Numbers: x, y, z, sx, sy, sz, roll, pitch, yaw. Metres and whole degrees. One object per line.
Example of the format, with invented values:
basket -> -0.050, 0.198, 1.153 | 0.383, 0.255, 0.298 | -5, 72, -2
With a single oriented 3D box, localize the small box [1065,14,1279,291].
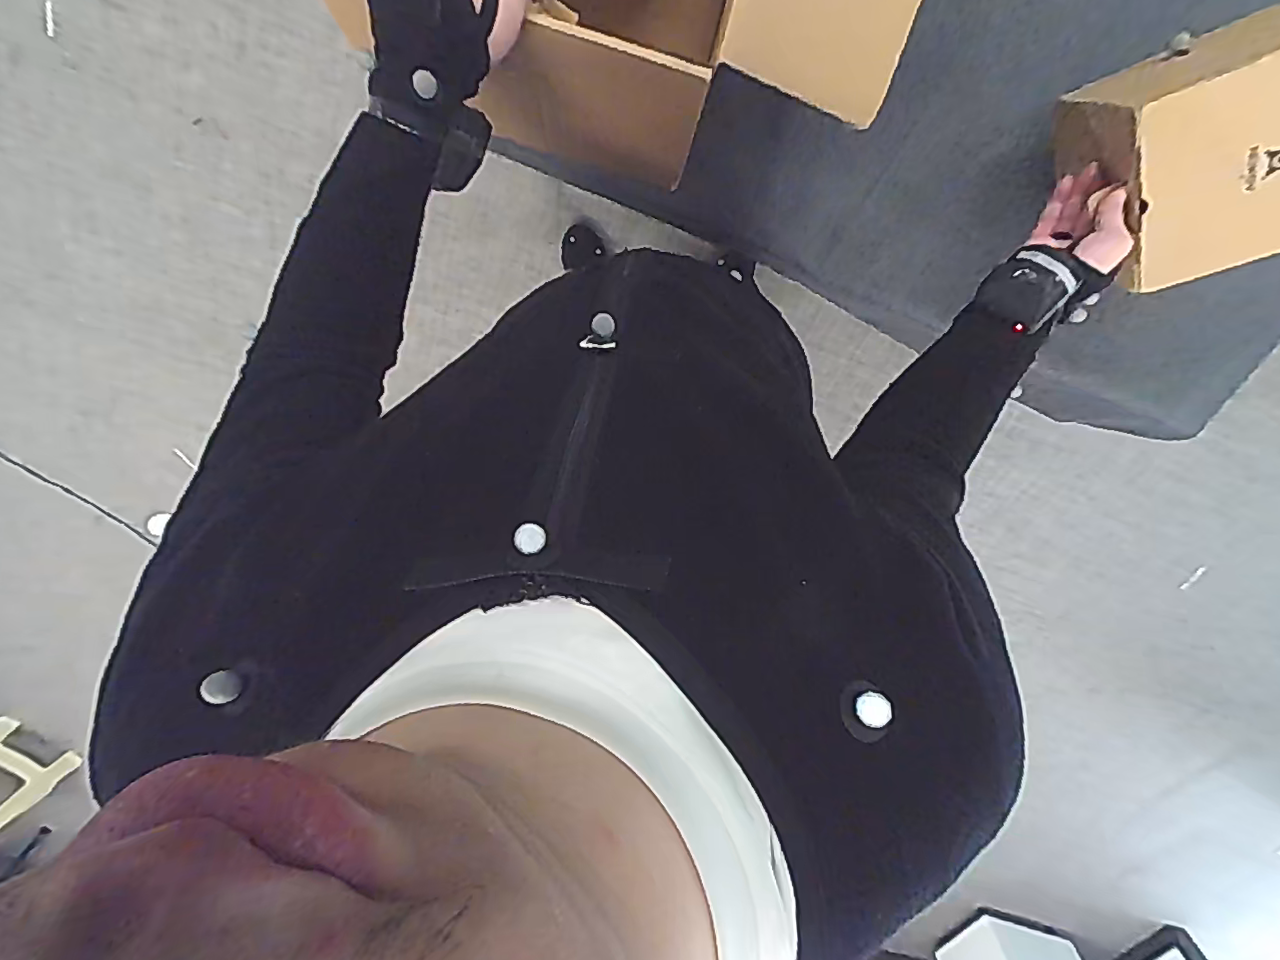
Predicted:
small box -> 0.535, -0.308, 0.512 | 0.179, 0.176, 0.168 | -15, 121, 23
